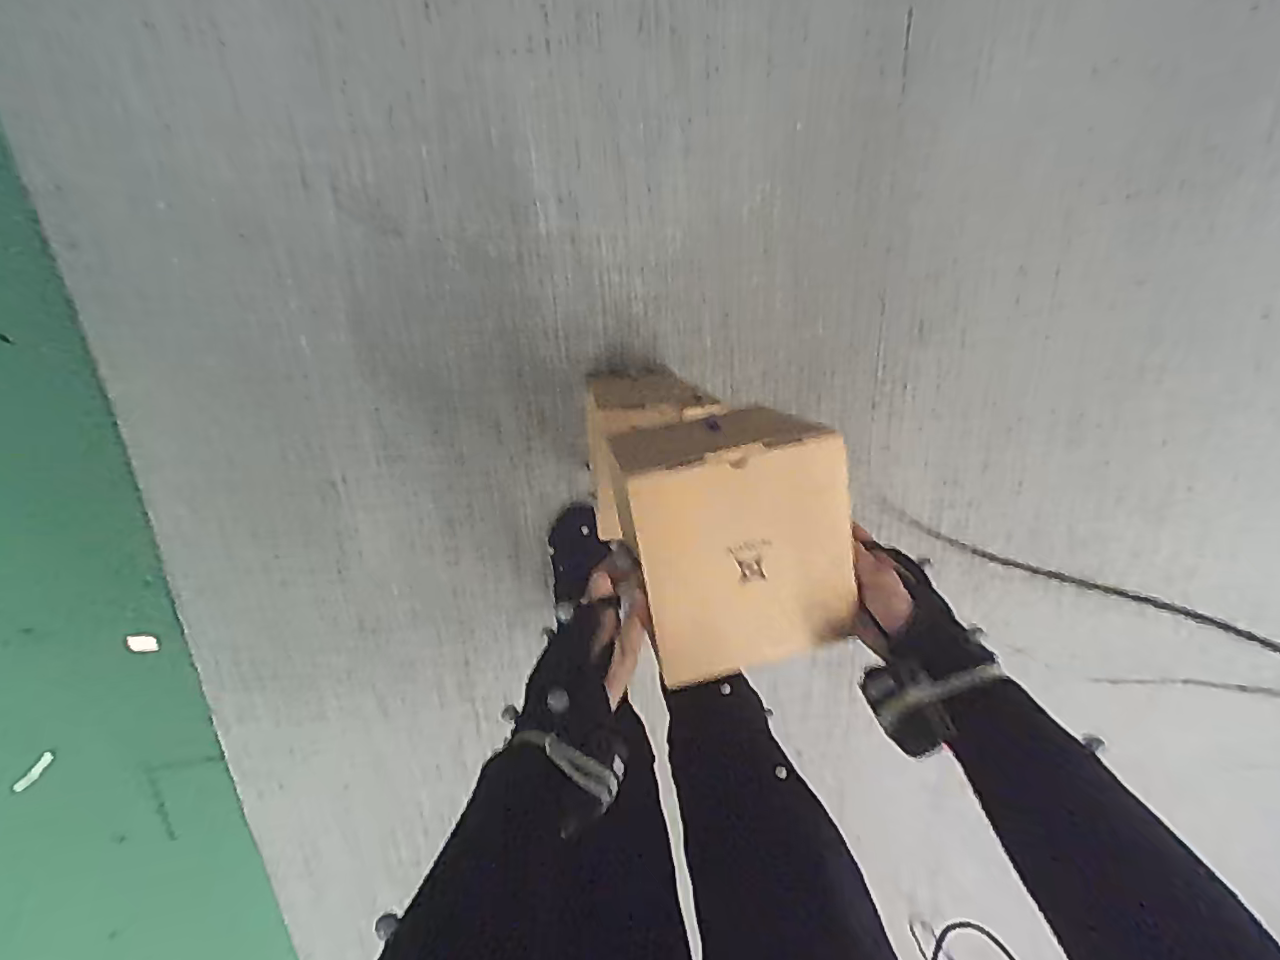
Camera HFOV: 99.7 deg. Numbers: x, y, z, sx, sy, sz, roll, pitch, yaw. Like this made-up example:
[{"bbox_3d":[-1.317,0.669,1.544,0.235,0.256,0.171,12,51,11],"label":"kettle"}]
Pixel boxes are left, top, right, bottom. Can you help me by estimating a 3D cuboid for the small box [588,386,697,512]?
[{"bbox_3d":[-0.001,-0.059,0.920,0.168,0.176,0.179,-4,108,-6],"label":"small box"}]
